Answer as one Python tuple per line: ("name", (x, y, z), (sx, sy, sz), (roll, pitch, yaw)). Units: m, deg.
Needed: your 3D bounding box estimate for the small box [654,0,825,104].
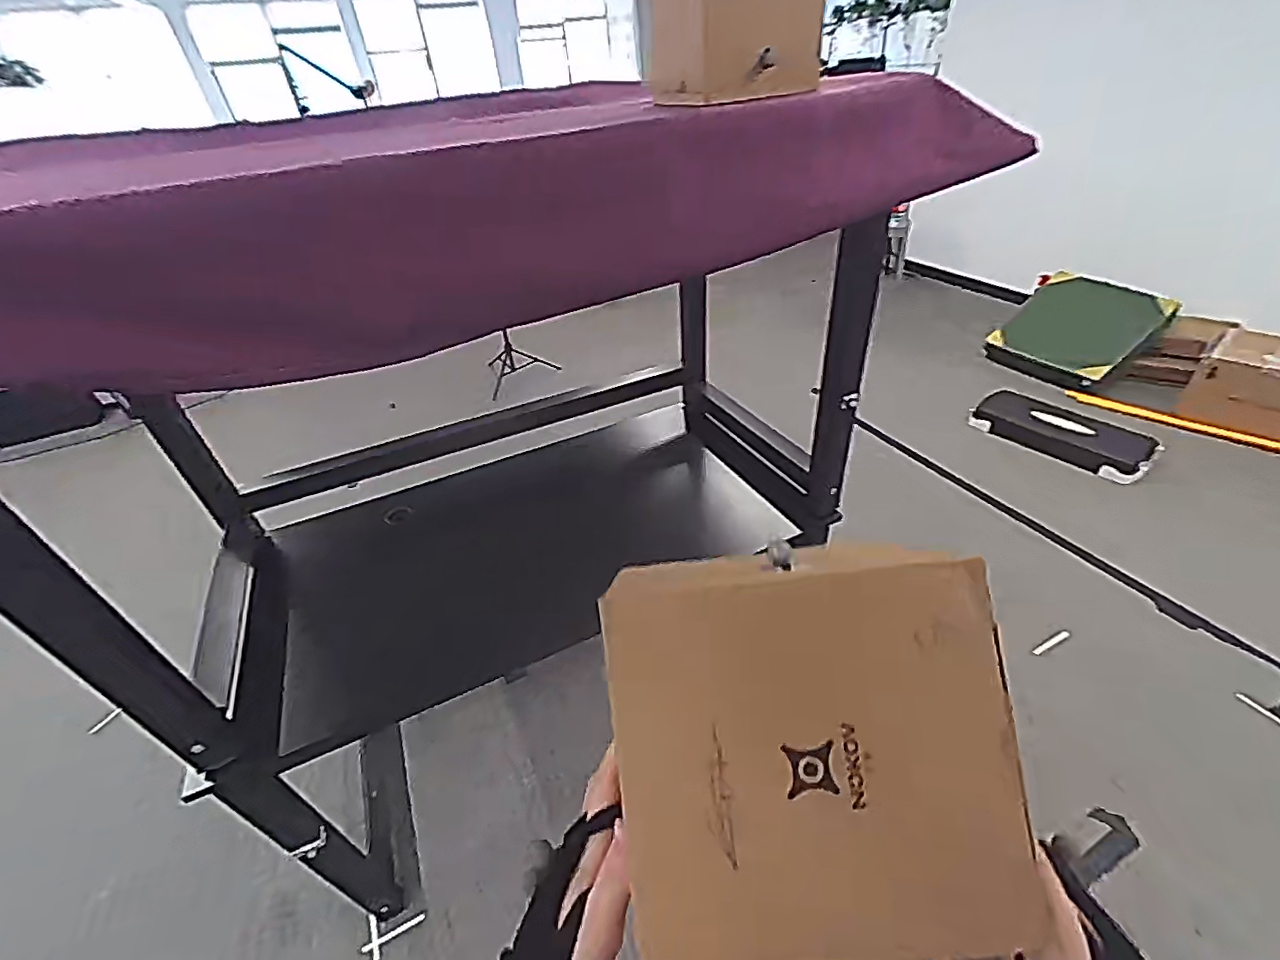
("small box", (0.123, -0.605, 0.706), (0.179, 0.176, 0.168), (-19, 38, -16))
